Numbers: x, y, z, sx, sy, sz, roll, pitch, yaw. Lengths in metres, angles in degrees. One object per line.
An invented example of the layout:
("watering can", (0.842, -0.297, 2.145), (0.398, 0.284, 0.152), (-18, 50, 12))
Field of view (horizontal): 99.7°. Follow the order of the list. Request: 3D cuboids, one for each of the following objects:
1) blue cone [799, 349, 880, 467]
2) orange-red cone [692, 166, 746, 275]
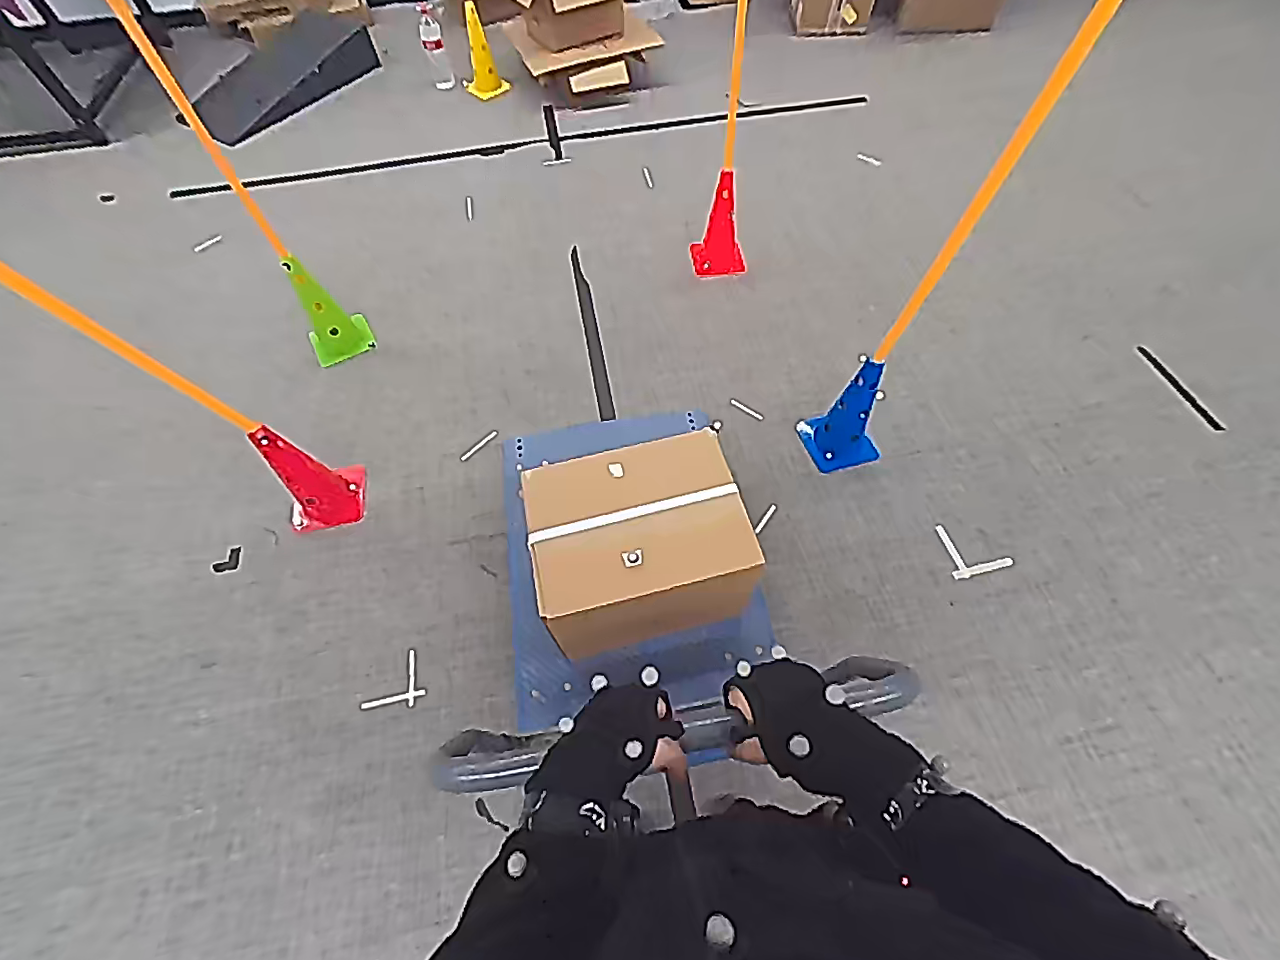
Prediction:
("blue cone", (0.604, -0.215, 1.533), (0.193, 0.380, 0.192), (-14, 59, -7))
("orange-red cone", (0.305, -0.958, 1.968), (0.199, 0.360, 0.198), (-4, 60, -2))
